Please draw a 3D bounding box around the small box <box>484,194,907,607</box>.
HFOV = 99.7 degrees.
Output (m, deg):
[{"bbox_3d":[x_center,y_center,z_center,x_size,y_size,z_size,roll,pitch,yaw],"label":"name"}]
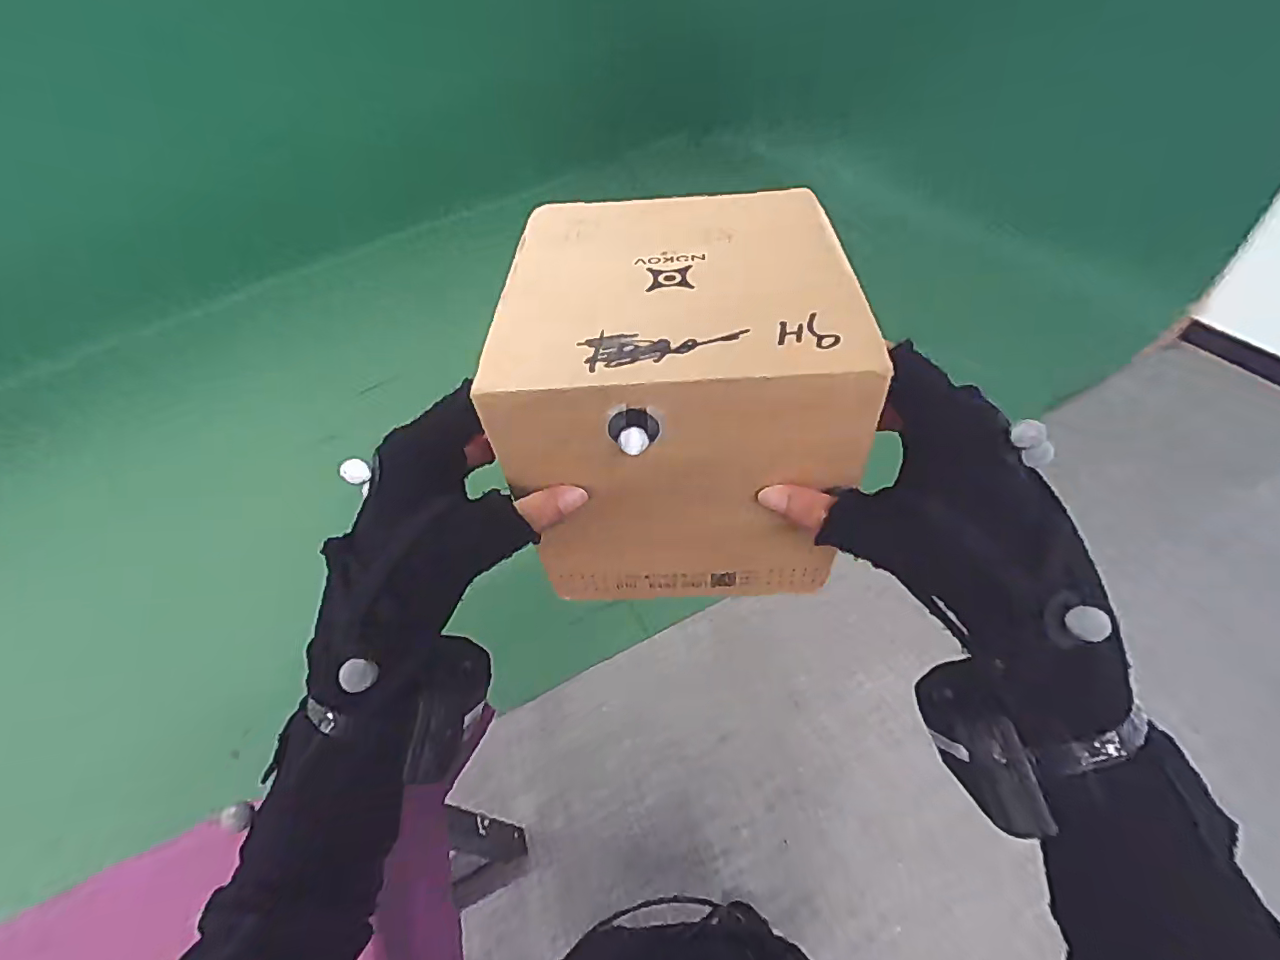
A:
[{"bbox_3d":[0.030,-0.045,0.320,0.168,0.176,0.179,-2,48,6],"label":"small box"}]
